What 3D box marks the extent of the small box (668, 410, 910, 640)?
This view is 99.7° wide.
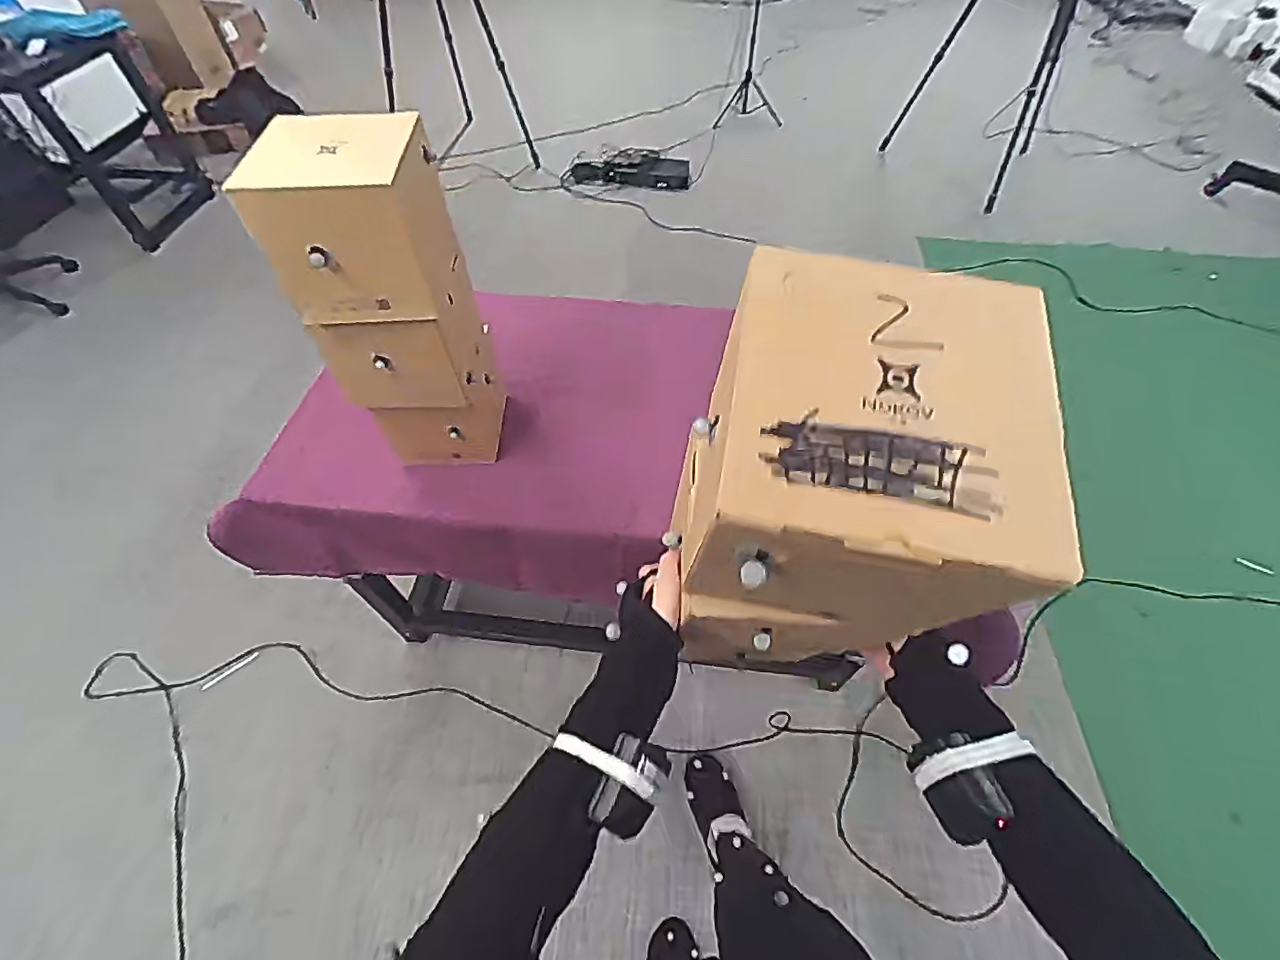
[{"bbox_3d":[0.118,0.051,0.501,0.179,0.176,0.168,4,68,1],"label":"small box"}]

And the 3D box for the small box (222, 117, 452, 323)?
[{"bbox_3d":[-0.337,-0.303,0.647,0.168,0.176,0.179,-4,53,-2],"label":"small box"}]

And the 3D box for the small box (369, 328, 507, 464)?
[{"bbox_3d":[-0.335,-0.140,0.931,0.168,0.176,0.179,-1,53,0],"label":"small box"}]

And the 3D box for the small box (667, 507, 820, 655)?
[{"bbox_3d":[0.119,0.109,0.657,0.168,0.176,0.179,1,66,0],"label":"small box"}]

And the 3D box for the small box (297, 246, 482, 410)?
[{"bbox_3d":[-0.342,-0.216,0.785,0.179,0.176,0.168,-2,54,0],"label":"small box"}]
